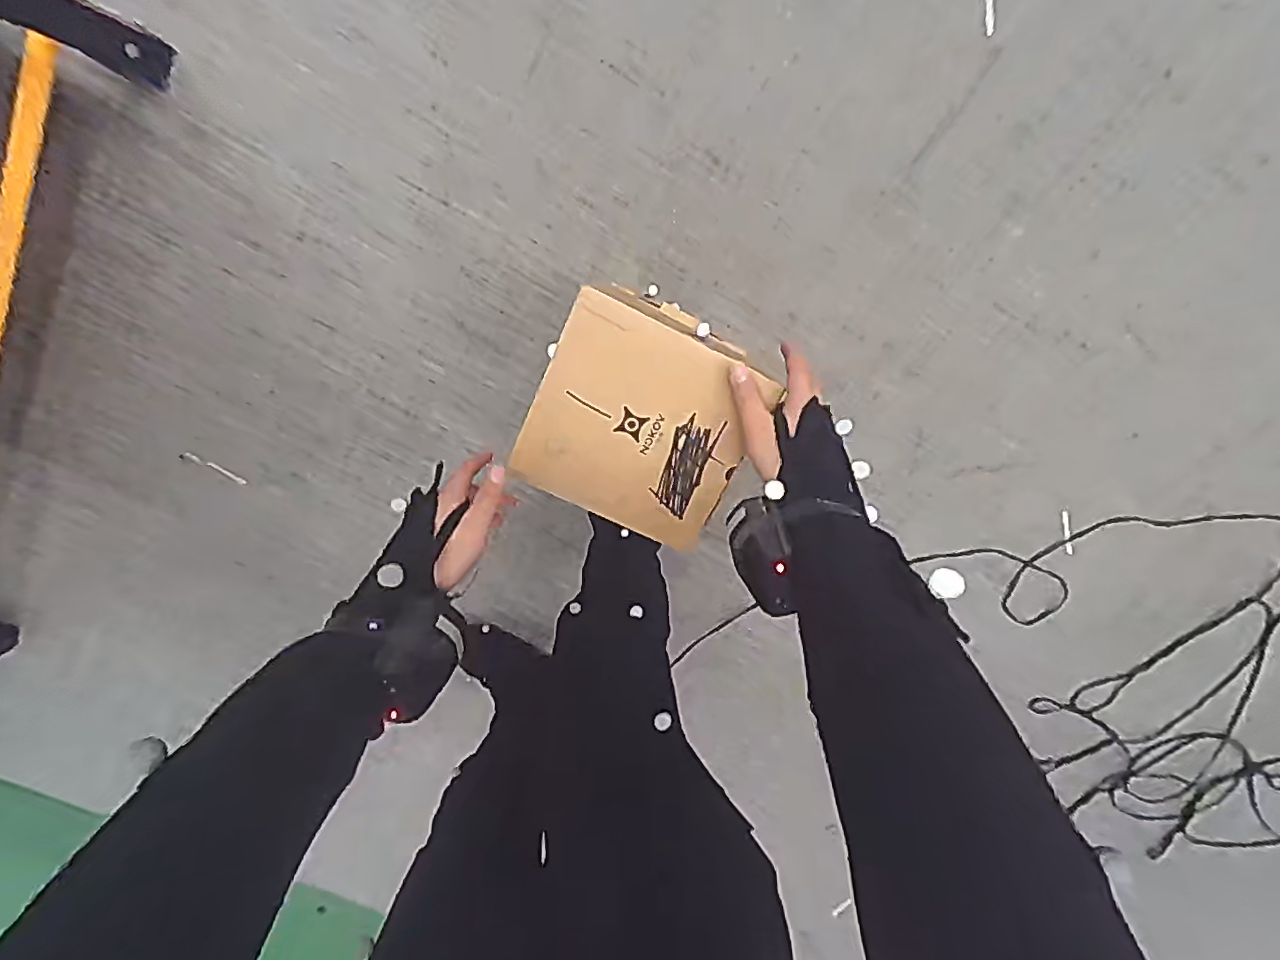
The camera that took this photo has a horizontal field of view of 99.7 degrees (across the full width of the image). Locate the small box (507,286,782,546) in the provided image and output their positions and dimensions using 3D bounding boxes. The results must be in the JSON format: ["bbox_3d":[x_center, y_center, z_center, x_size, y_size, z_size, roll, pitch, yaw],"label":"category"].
[{"bbox_3d":[0.003,-0.072,0.513,0.179,0.176,0.168,25,109,-7],"label":"small box"}]
